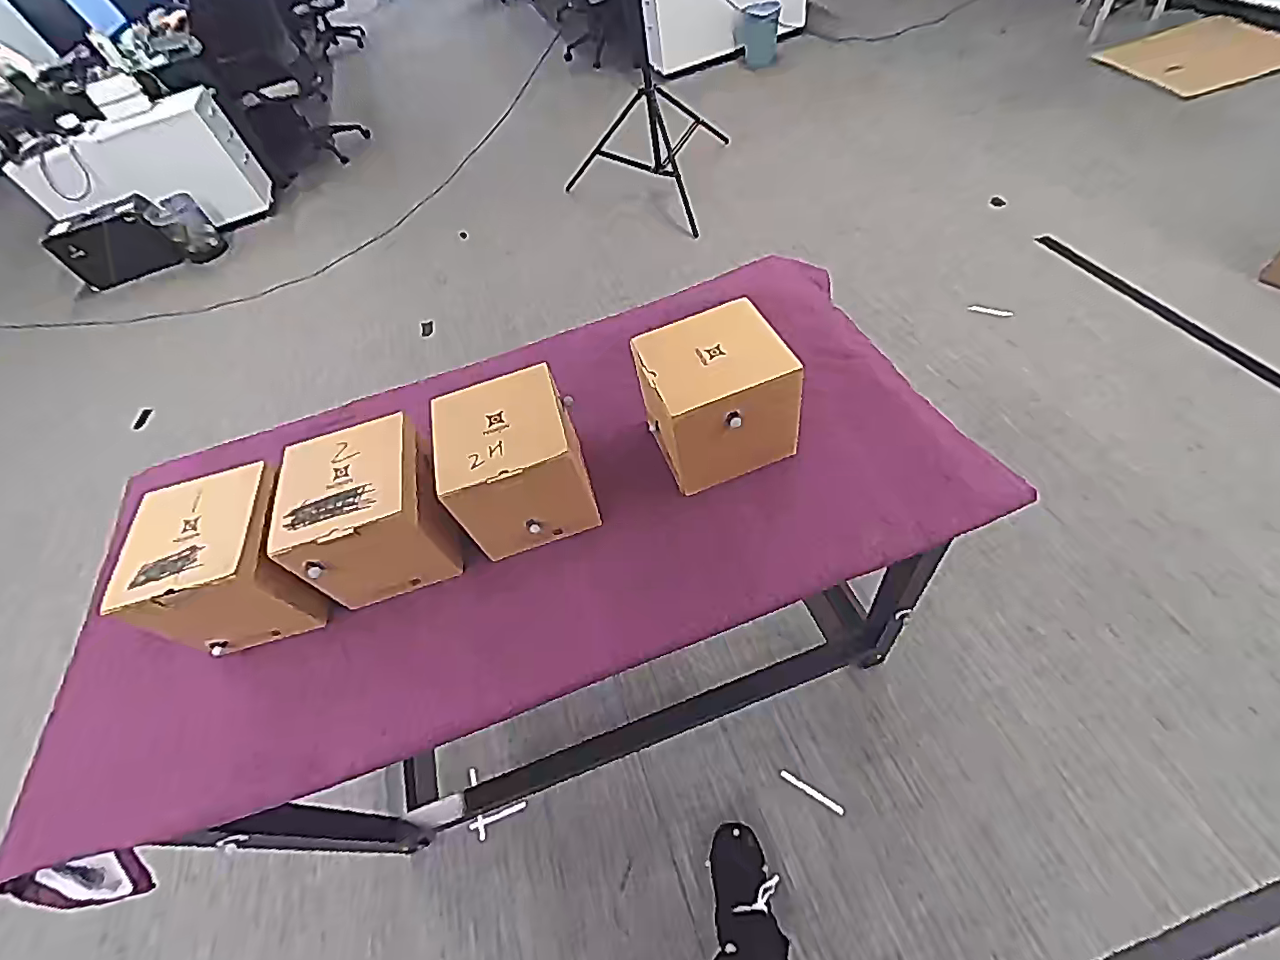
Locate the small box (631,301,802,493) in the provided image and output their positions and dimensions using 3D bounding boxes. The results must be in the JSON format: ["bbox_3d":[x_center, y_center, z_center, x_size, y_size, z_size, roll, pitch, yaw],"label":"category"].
[{"bbox_3d":[0.105,-0.111,0.758,0.179,0.176,0.168,-21,52,-2],"label":"small box"}]
